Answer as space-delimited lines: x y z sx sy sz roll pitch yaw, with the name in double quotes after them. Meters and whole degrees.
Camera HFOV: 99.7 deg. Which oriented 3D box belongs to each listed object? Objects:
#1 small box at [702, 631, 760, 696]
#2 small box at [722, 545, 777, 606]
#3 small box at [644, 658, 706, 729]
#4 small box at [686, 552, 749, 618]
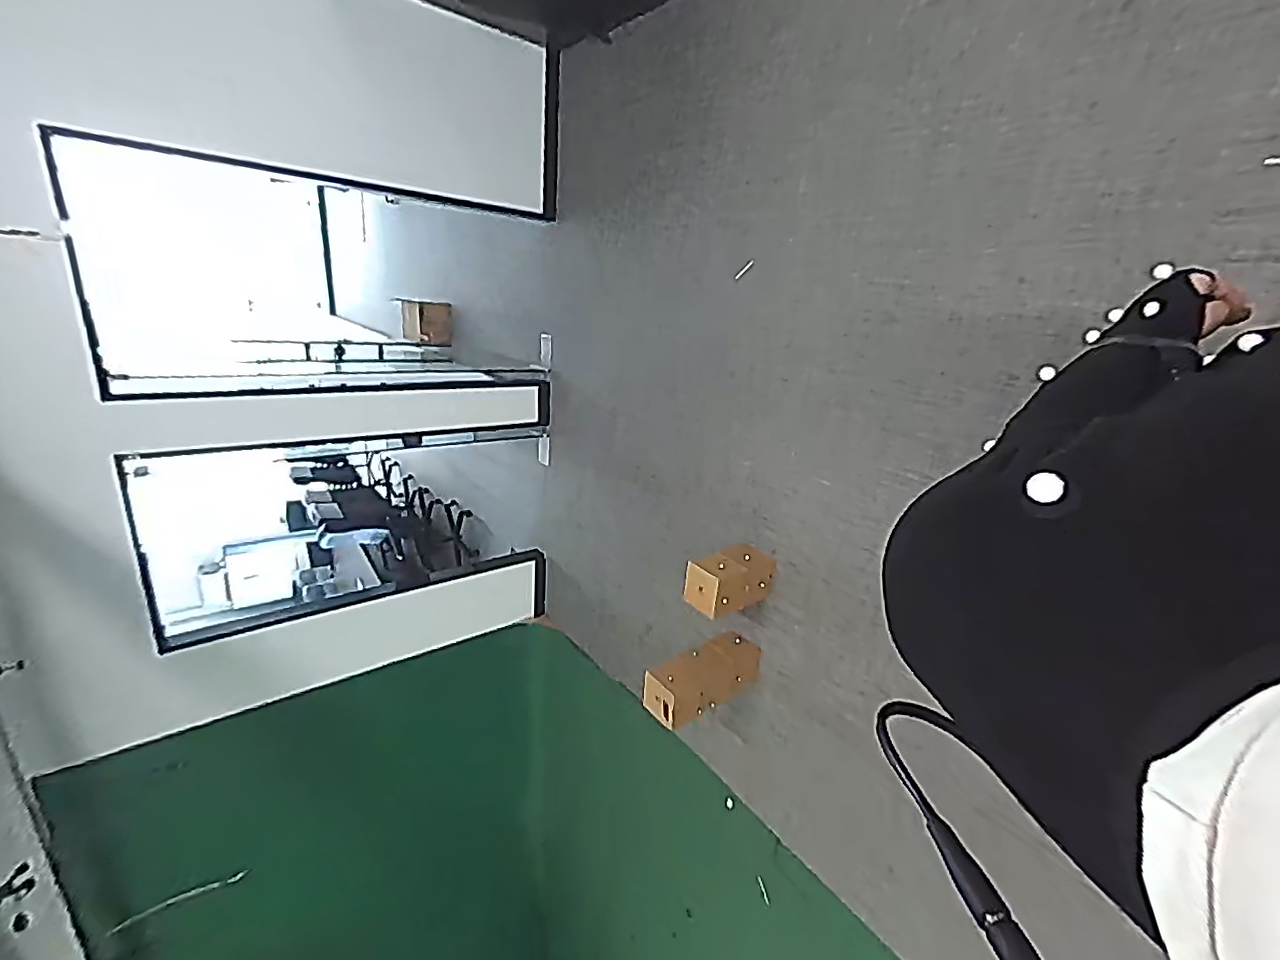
0.390 0.774 2.302 0.168 0.176 0.179 26 117 47 "small box"
0.424 0.378 2.177 0.179 0.176 0.168 28 118 46 "small box"
0.137 0.819 2.097 0.179 0.176 0.168 25 117 49 "small box"
0.300 0.396 2.074 0.168 0.176 0.179 27 119 47 "small box"
